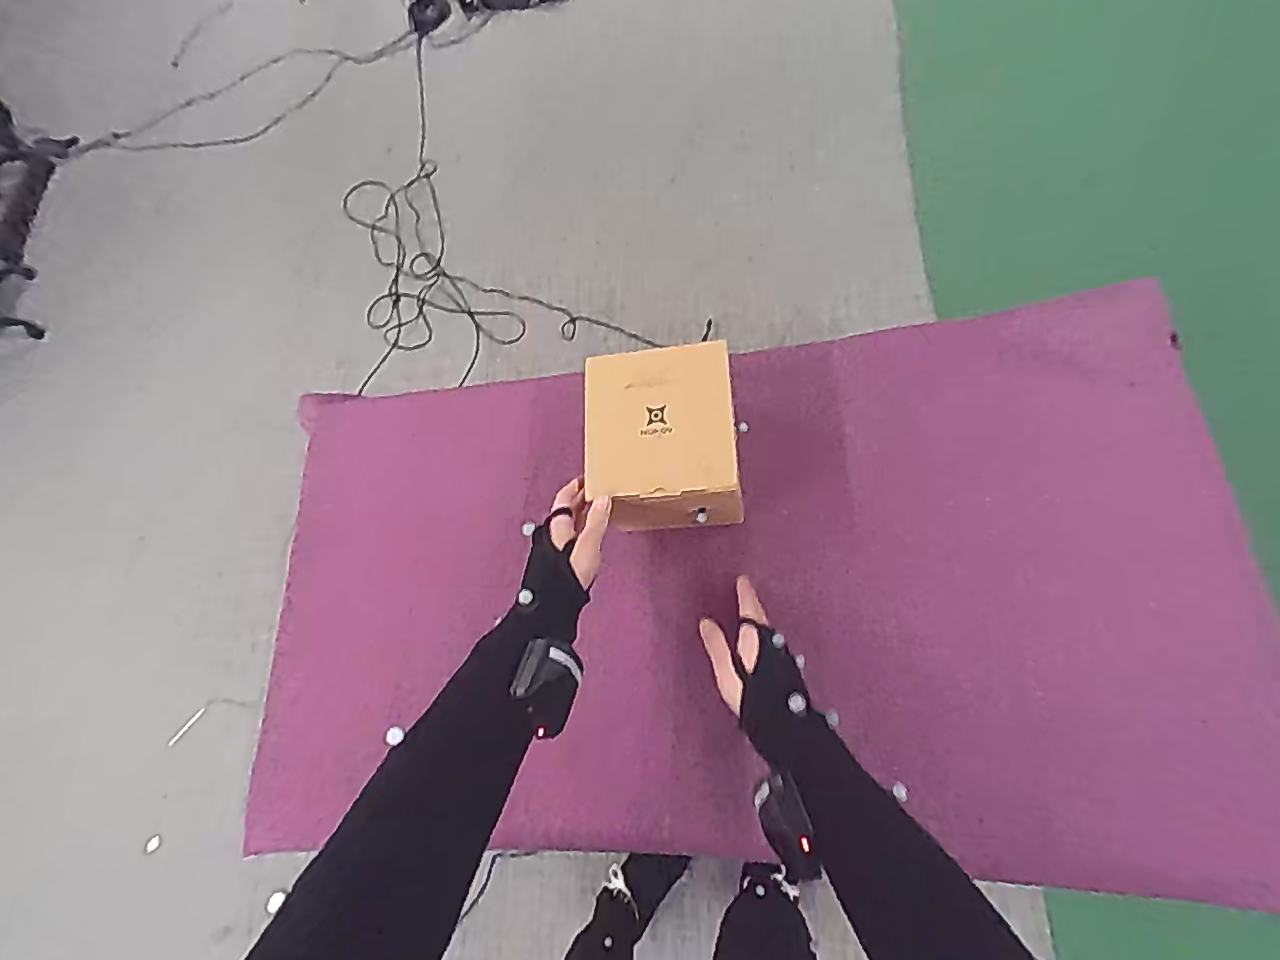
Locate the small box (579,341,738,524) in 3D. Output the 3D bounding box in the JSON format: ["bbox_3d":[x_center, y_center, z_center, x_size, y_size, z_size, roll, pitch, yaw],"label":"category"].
[{"bbox_3d":[0.030,-0.045,0.667,0.168,0.176,0.179,-5,72,11],"label":"small box"}]
